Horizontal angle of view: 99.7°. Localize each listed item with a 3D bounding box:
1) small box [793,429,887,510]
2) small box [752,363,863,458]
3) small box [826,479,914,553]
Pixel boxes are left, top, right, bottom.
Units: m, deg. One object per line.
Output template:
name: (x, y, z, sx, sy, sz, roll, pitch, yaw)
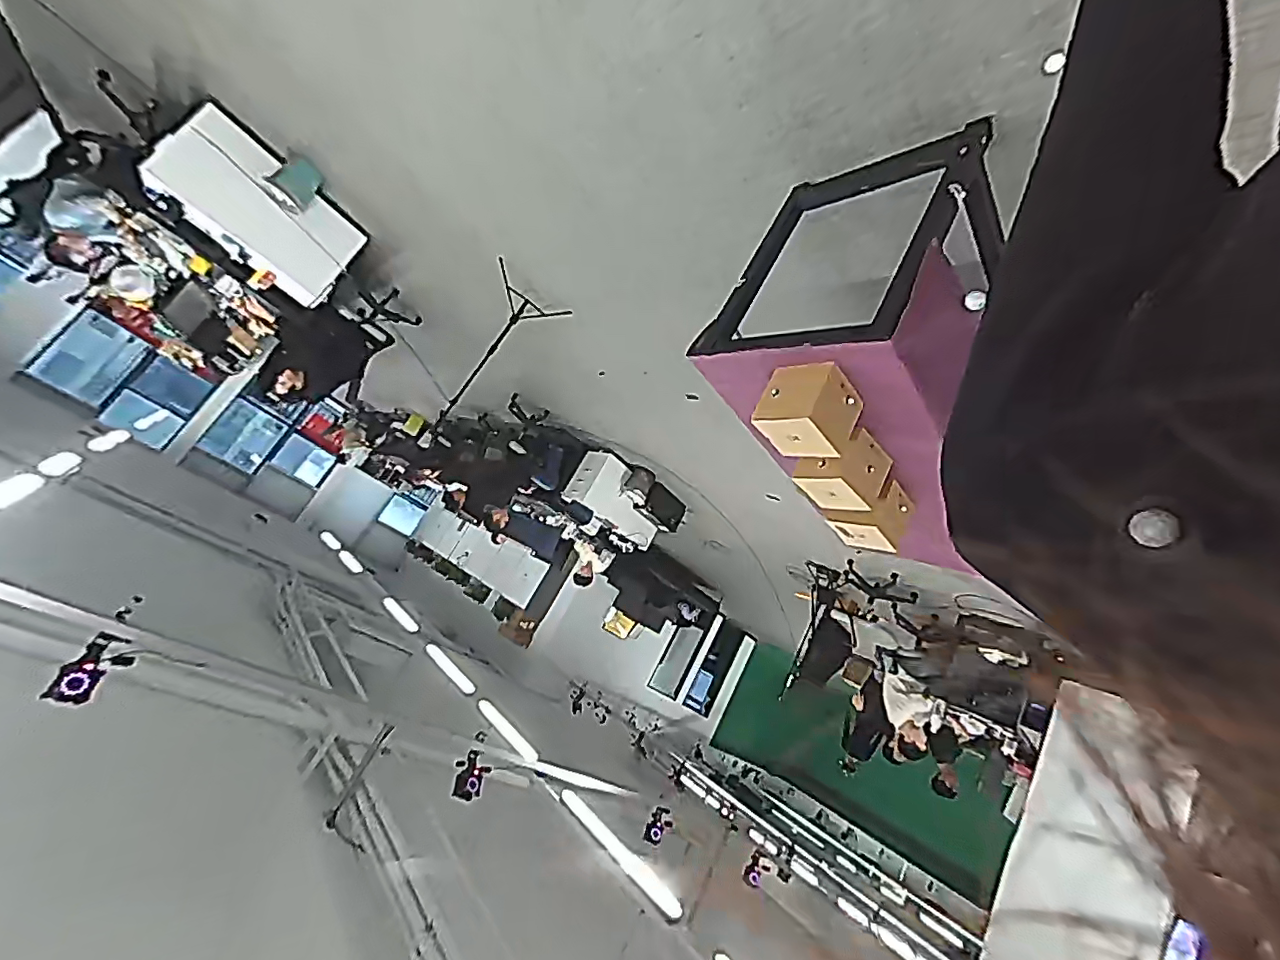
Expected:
small box: (0.573, -0.032, 1.530, 0.168, 0.176, 0.179, 38, 163, -27)
small box: (0.422, -0.174, 1.353, 0.168, 0.176, 0.179, 39, 163, -33)
small box: (0.720, 0.102, 1.688, 0.168, 0.176, 0.179, 40, 161, -32)
